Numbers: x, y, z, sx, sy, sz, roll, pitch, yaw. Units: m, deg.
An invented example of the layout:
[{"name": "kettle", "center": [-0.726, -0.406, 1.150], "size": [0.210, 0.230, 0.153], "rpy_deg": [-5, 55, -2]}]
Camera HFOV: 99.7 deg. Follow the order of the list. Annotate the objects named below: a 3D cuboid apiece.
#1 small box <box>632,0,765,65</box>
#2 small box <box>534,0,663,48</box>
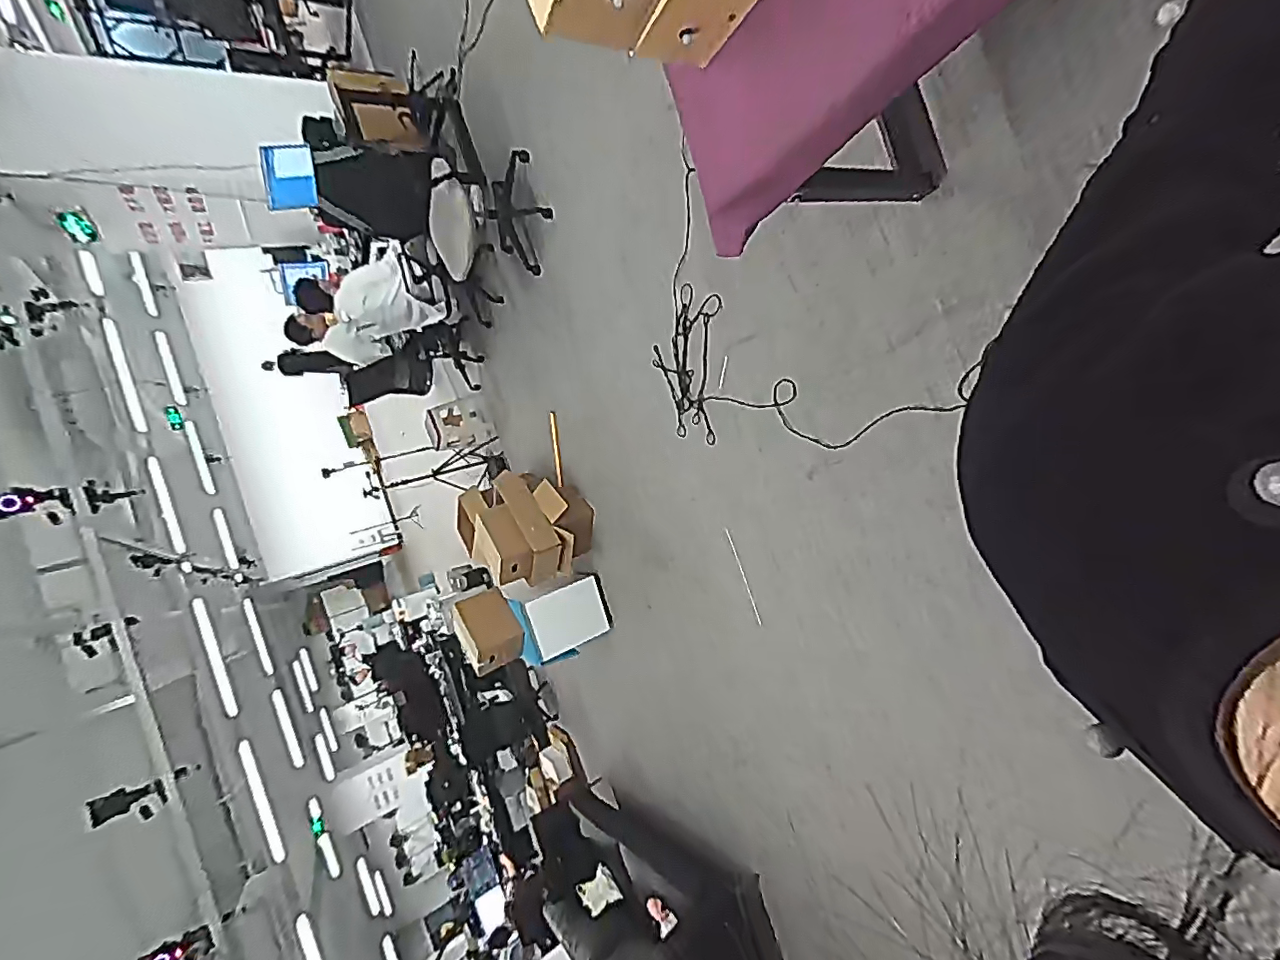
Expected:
[{"name": "small box", "center": [0.078, -0.809, 0.868], "size": [0.168, 0.176, 0.179], "rpy_deg": [-14, 93, 60]}, {"name": "small box", "center": [-0.060, -0.774, 0.785], "size": [0.168, 0.176, 0.179], "rpy_deg": [-24, 85, 59]}]
